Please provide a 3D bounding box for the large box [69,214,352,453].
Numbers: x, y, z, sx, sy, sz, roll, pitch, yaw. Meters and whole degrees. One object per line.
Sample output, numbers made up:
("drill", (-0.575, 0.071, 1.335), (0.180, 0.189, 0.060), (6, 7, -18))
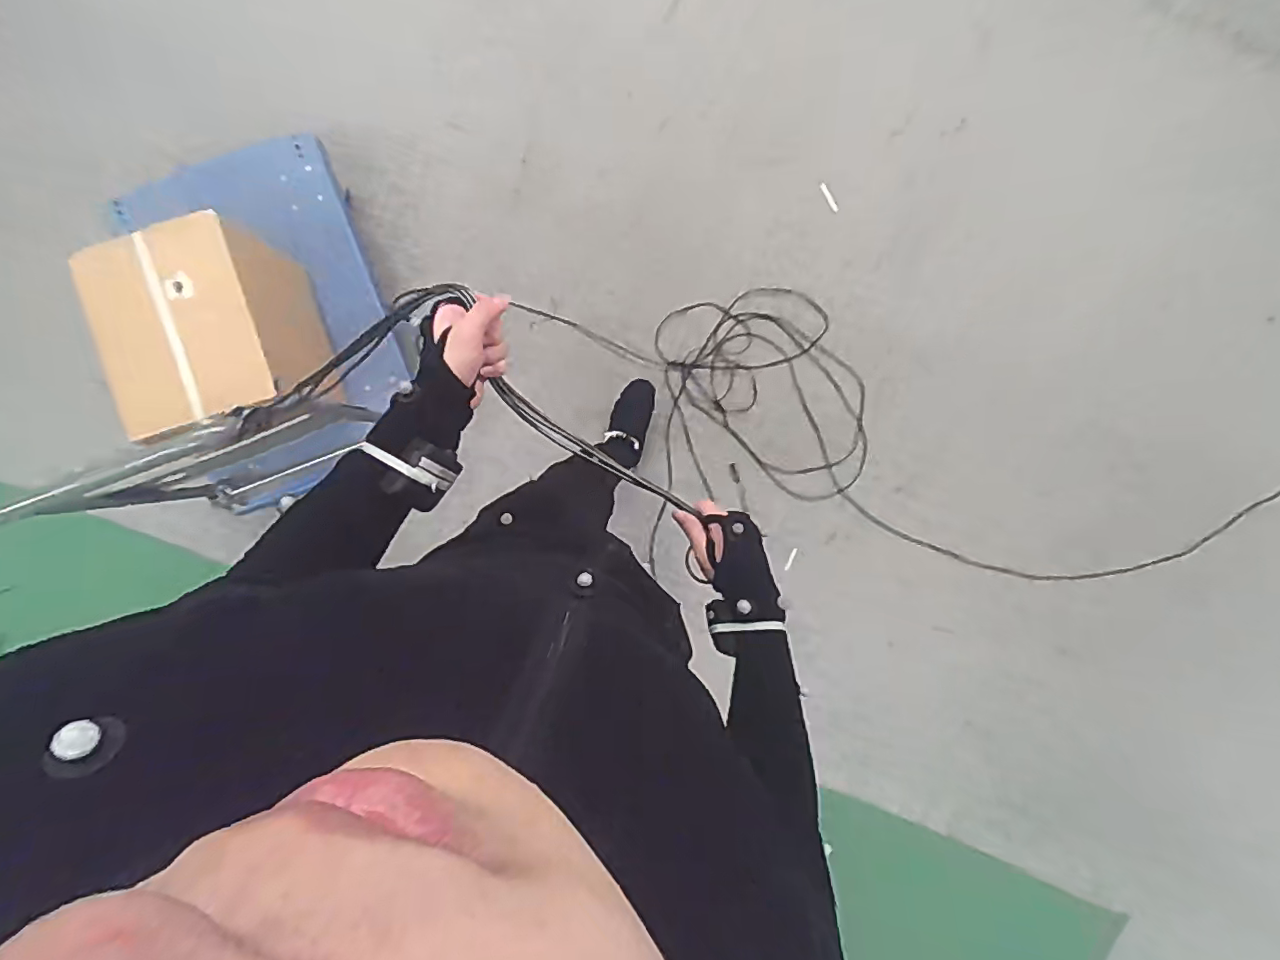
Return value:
("large box", (-0.935, -0.301, 1.230), (0.320, 0.320, 0.408), (-18, 90, -2))
